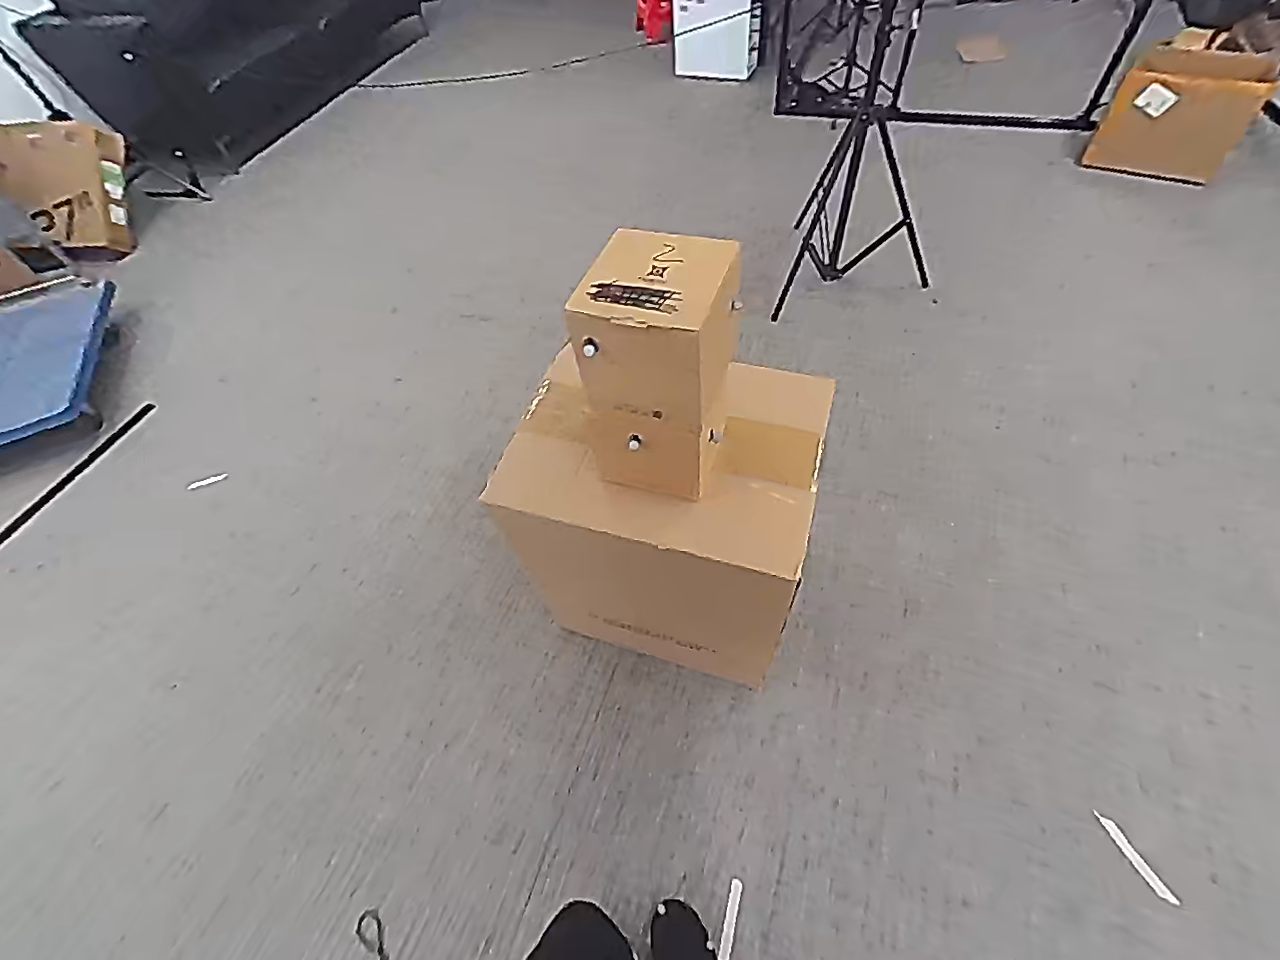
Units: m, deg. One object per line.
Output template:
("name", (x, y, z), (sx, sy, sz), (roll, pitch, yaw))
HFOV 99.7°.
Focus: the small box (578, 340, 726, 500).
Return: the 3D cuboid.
("small box", (0.027, -0.088, 0.839), (0.179, 0.176, 0.168), (12, 58, 15))
